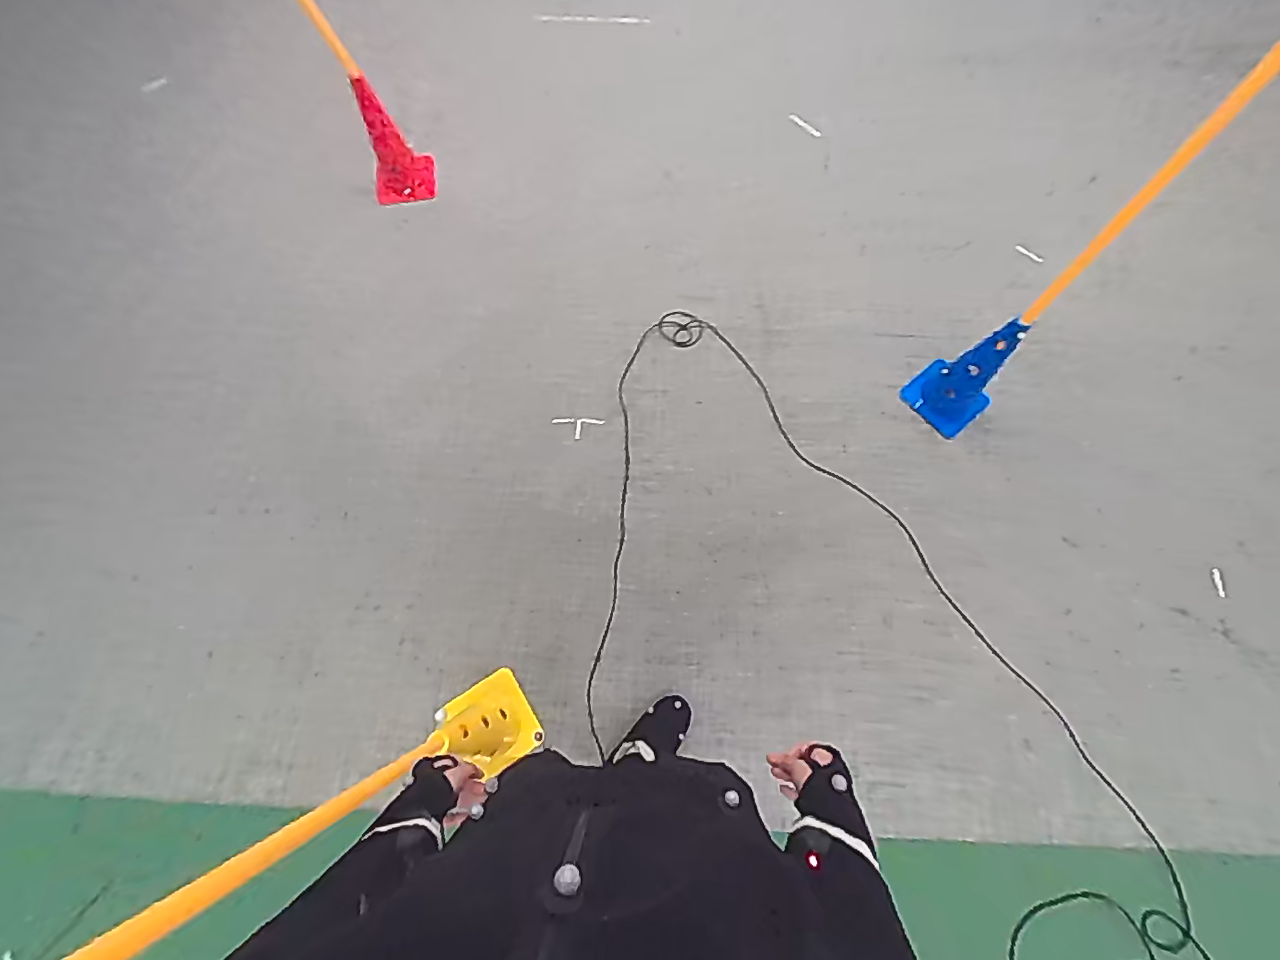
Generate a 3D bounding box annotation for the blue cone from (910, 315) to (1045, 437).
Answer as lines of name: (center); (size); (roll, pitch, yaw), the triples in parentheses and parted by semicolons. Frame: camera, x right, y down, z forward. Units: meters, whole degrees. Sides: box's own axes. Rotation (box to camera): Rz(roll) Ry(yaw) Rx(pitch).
blue cone: (0.888, -0.295, 1.392); (0.193, 0.380, 0.192); (-40, 74, -15)
